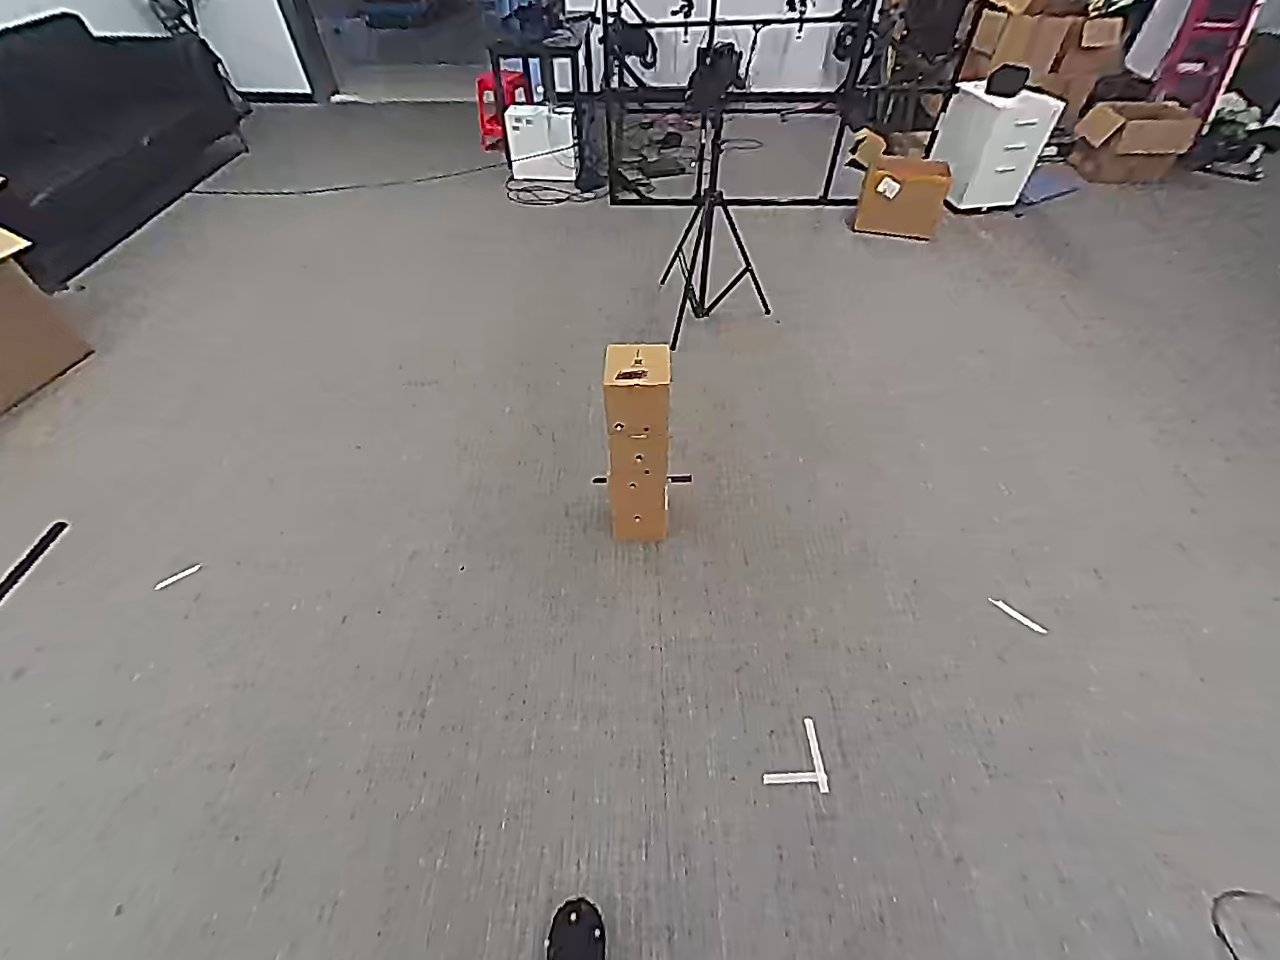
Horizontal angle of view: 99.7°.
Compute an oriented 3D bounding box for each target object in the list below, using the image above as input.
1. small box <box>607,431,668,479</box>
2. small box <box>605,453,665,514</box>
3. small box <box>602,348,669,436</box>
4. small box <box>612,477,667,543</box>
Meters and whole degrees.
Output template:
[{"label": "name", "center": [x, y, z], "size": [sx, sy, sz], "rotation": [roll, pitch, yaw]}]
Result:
[{"label": "small box", "center": [-0.003, -0.118, 1.554], "size": [0.168, 0.176, 0.179], "rotation": [1, 49, 1]}, {"label": "small box", "center": [-0.010, -0.007, 1.674], "size": [0.179, 0.176, 0.168], "rotation": [1, 49, 2]}, {"label": "small box", "center": [-0.007, -0.229, 1.432], "size": [0.168, 0.176, 0.179], "rotation": [0, 48, 1]}, {"label": "small box", "center": [-0.002, 0.099, 1.799], "size": [0.179, 0.176, 0.168], "rotation": [0, 49, 0]}]
